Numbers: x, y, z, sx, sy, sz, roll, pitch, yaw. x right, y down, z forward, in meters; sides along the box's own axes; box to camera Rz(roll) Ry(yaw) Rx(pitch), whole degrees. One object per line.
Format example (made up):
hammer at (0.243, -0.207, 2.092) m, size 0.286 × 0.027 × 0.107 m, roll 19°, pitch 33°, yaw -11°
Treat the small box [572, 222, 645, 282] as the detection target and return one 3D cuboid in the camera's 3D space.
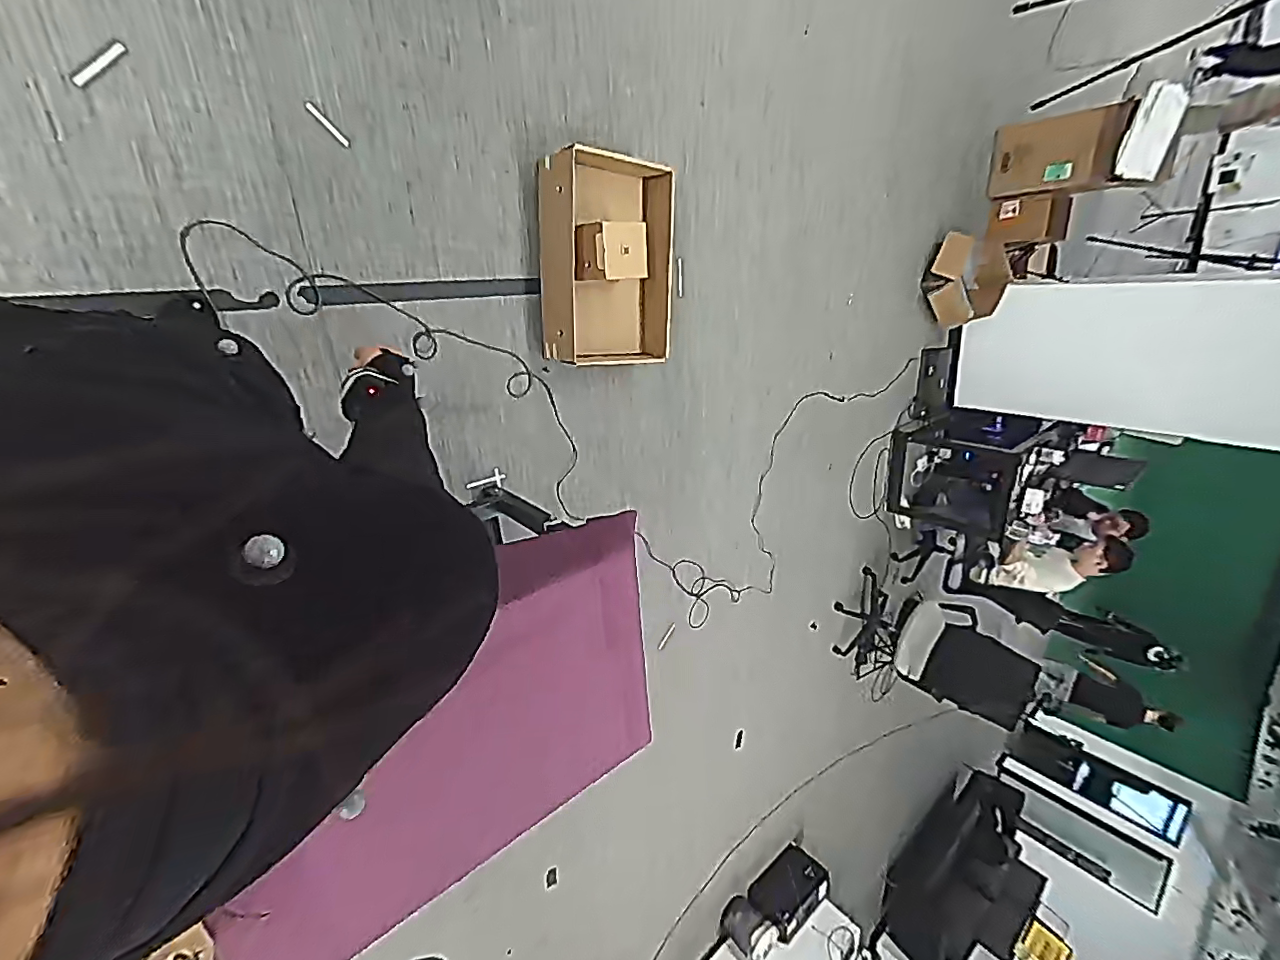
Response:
small box at (-0.106, -0.728, 1.734) m, size 0.179 × 0.176 × 0.168 m, roll -19°, pitch 117°, yaw -36°
